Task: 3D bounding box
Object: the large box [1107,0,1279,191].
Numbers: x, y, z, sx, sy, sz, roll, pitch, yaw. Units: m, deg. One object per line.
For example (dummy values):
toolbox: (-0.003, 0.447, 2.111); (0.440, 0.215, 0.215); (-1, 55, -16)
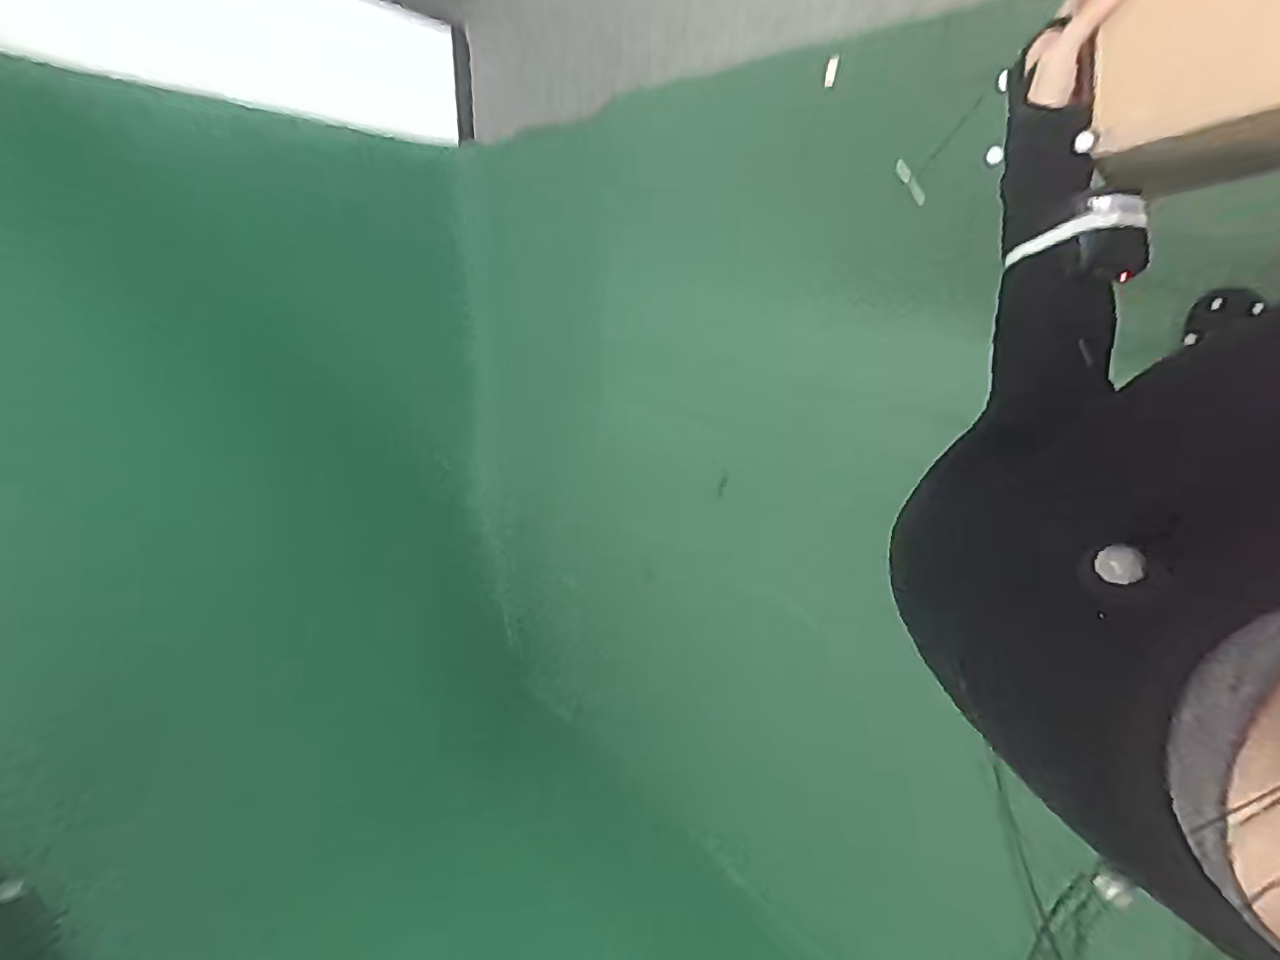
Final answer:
large box: (0.591, -0.429, 0.350); (0.408, 0.320, 0.320); (5, 106, 45)
